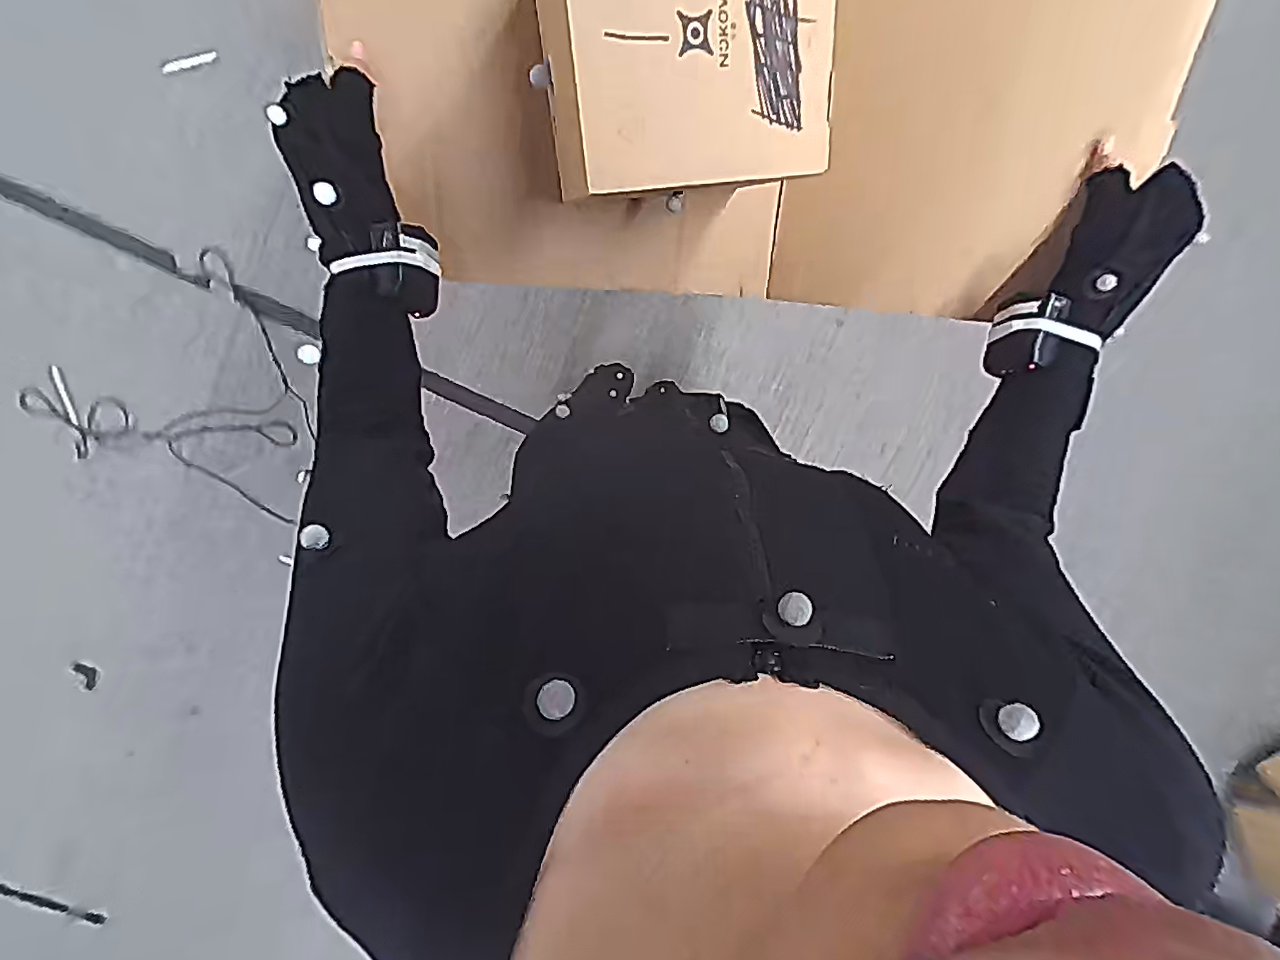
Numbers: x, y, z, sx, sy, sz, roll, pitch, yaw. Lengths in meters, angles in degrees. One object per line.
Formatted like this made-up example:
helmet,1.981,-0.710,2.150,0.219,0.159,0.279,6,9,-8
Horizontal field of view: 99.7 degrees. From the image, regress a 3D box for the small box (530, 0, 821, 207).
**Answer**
small box,0.019,-0.312,0.418,0.179,0.176,0.168,-11,116,-9
